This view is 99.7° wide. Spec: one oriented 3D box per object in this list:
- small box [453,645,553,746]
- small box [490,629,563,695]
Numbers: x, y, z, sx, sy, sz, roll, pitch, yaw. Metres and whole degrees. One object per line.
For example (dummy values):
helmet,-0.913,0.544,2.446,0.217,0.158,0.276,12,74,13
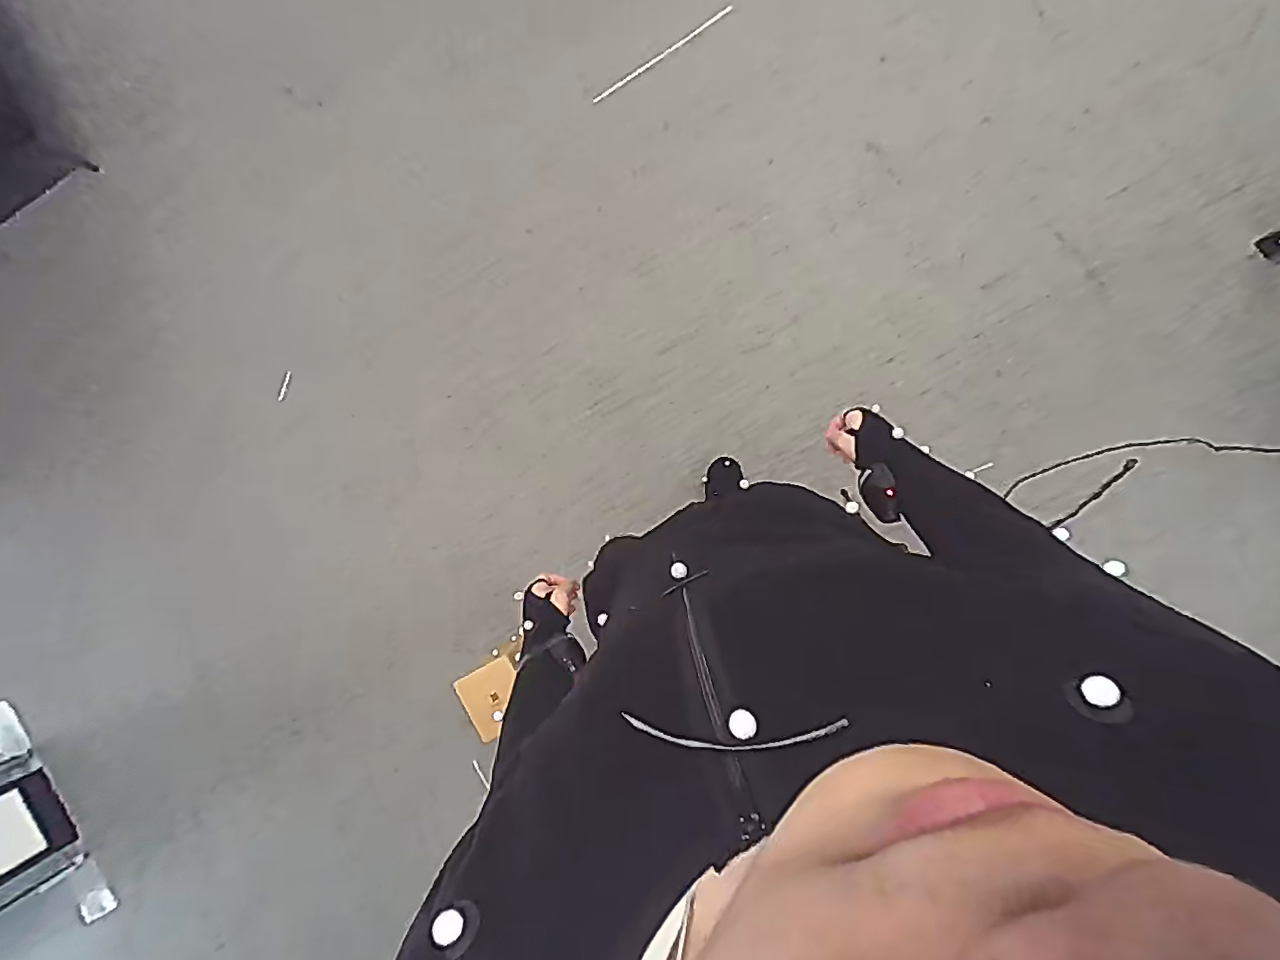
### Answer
small box,-0.357,0.559,1.436,0.168,0.176,0.179,-29,87,5
small box,-0.342,0.565,1.599,0.179,0.176,0.168,-28,87,5
